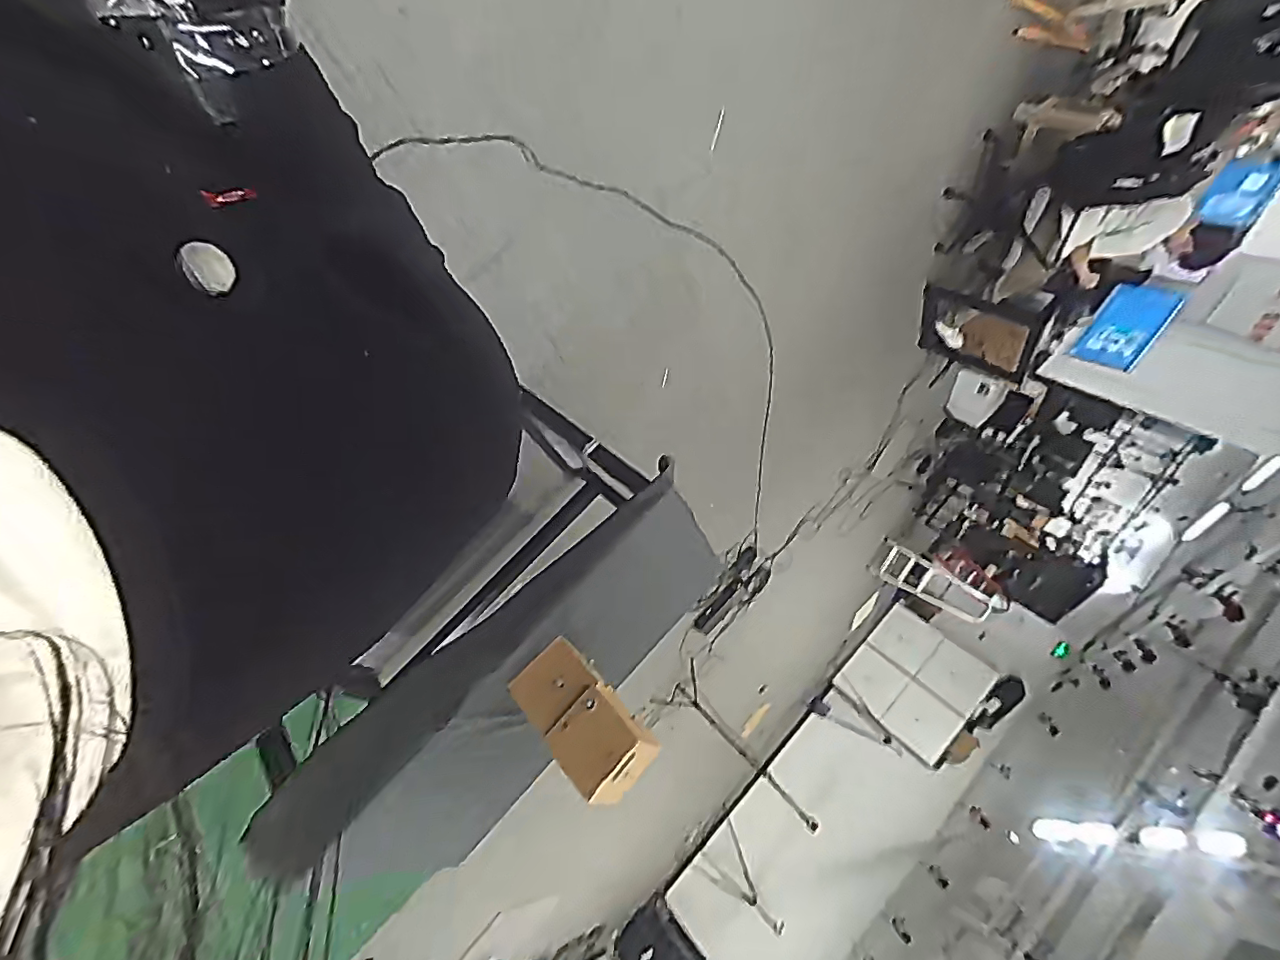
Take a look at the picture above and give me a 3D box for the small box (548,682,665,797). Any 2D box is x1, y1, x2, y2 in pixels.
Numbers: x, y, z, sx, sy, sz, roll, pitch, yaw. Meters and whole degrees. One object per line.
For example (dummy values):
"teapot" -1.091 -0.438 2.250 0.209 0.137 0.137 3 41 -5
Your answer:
"small box" -0.078 0.589 1.233 0.168 0.176 0.179 -48 144 -7

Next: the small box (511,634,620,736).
"small box" -0.184 0.514 1.338 0.179 0.176 0.168 -44 146 -11
